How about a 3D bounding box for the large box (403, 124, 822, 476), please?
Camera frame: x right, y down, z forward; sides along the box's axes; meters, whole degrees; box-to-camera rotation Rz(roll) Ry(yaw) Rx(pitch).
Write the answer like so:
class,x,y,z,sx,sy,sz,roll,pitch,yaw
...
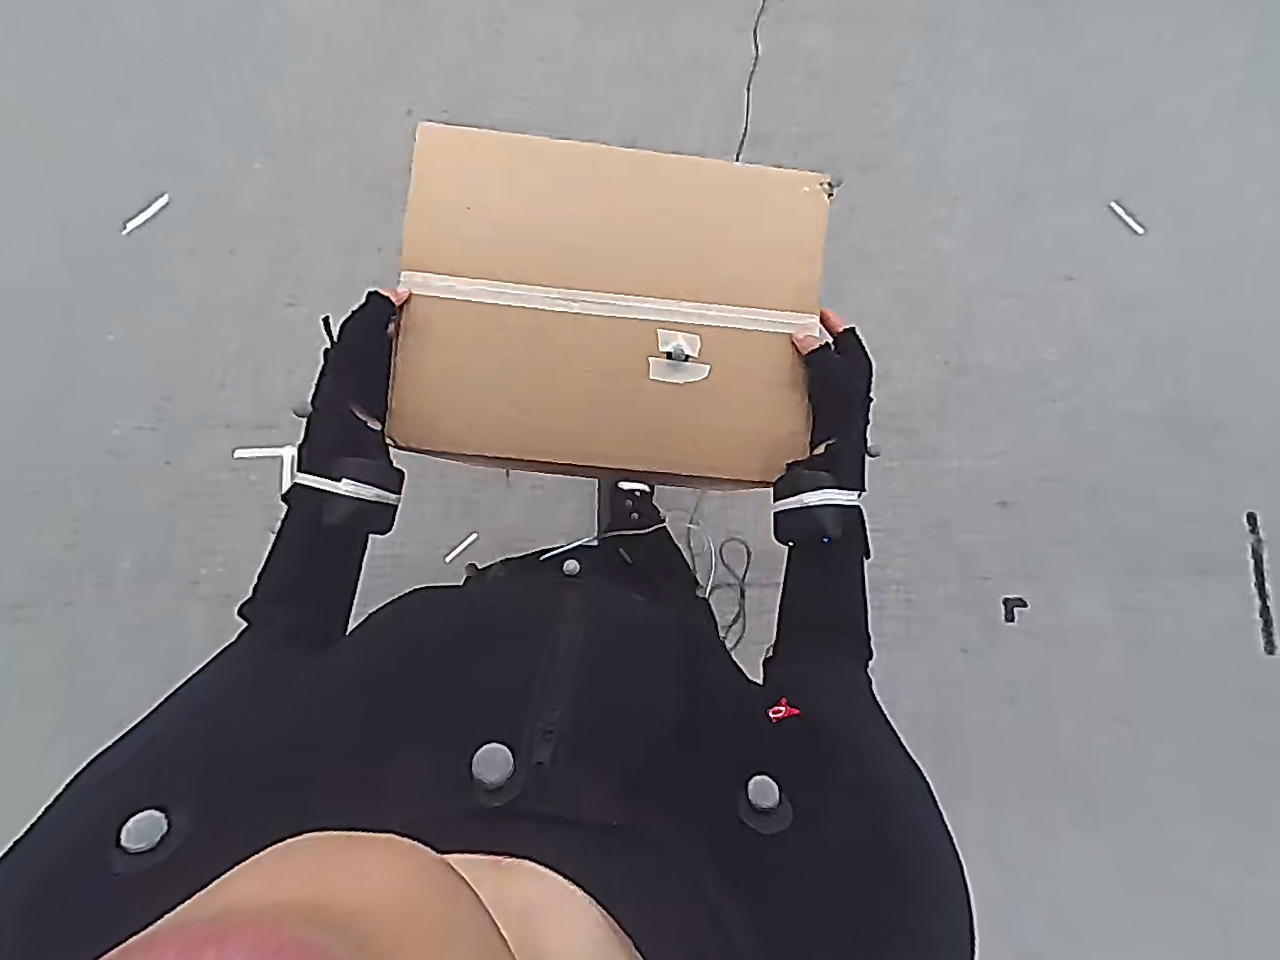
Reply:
class,x,y,z,sx,sy,sz,roll,pitch,yaw
large box,-0.033,-0.179,0.687,0.408,0.320,0.320,6,89,-4
